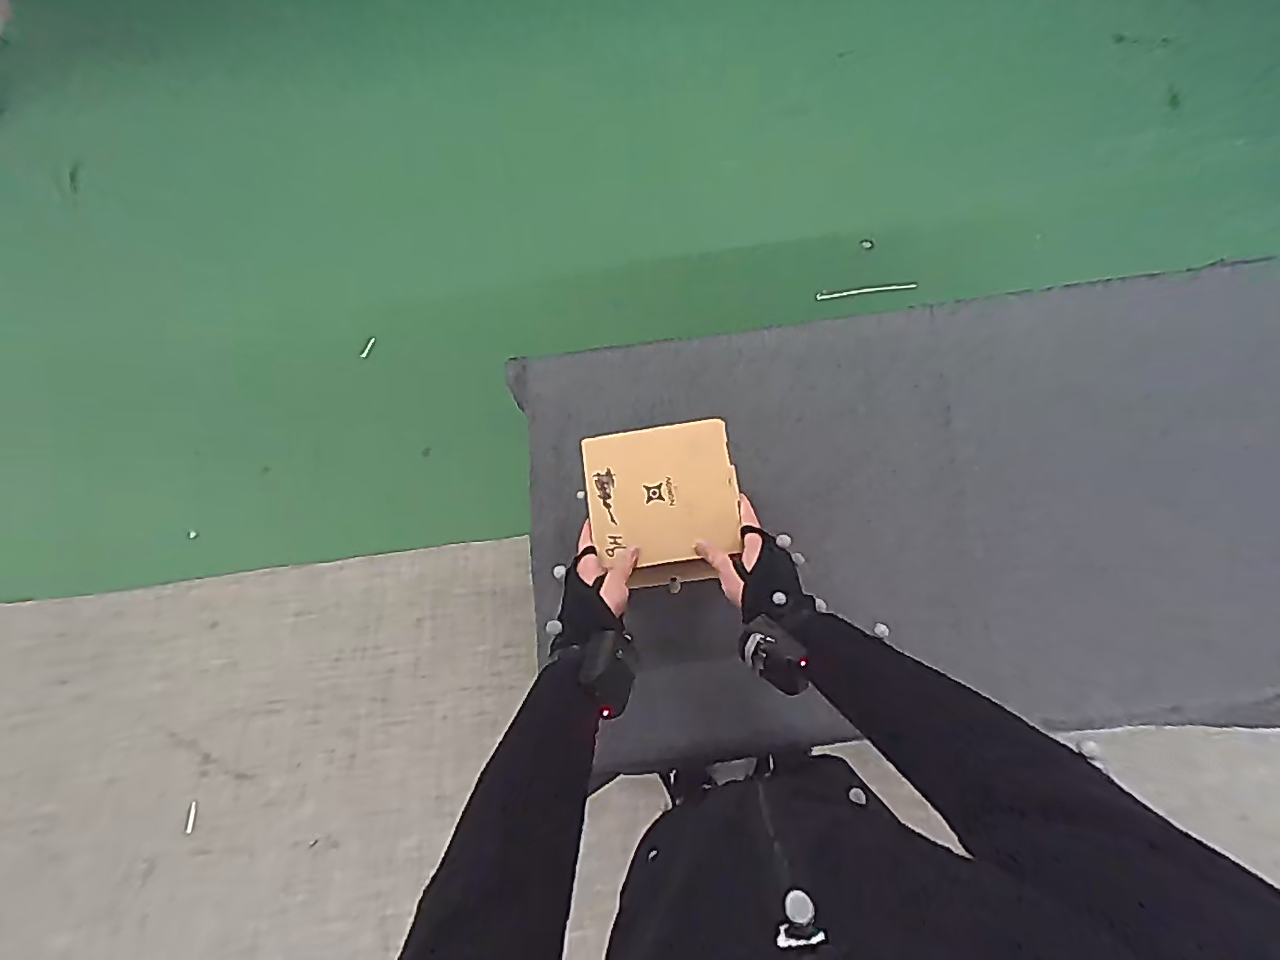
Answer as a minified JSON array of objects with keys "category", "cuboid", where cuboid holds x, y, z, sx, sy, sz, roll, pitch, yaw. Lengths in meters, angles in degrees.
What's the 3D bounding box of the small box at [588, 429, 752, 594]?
[{"category":"small box","cuboid":[0.034,0.049,0.704,0.179,0.176,0.168,-8,71,0]}]
